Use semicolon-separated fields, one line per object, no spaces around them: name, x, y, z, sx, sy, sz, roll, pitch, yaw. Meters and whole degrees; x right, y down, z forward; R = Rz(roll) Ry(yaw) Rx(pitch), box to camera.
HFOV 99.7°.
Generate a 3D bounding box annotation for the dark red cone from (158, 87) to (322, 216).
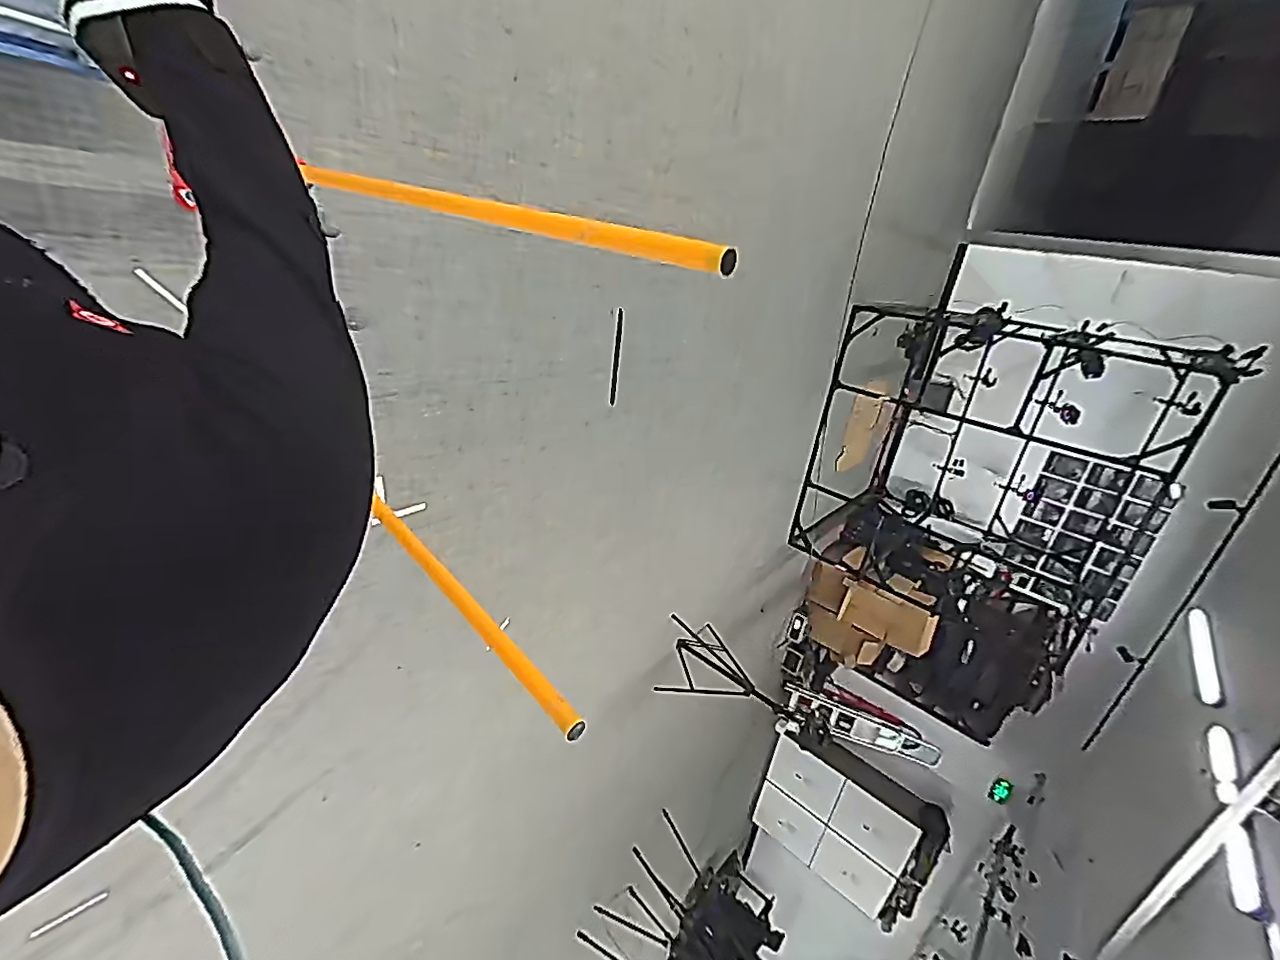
dark red cone;-0.693;-0.589;0.992;0.201;0.394;0.202;-21;128;-48
